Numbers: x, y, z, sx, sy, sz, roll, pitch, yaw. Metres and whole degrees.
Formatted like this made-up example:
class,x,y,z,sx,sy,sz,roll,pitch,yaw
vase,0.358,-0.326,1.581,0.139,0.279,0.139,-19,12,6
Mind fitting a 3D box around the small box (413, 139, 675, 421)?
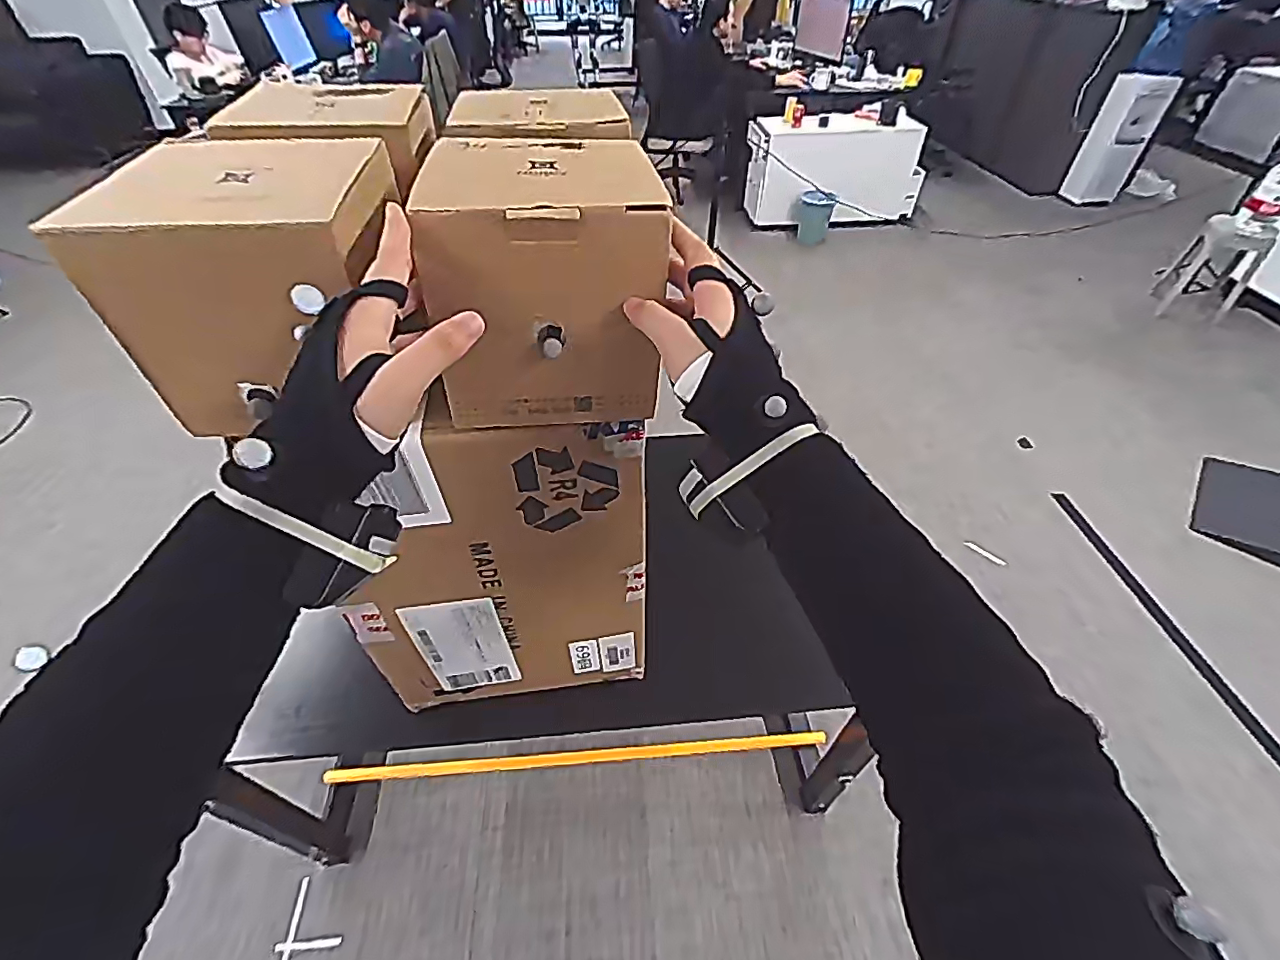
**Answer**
class,x,y,z,sx,sy,sz,roll,pitch,yaw
small box,-0.072,-0.161,0.446,0.168,0.176,0.179,-3,45,-9
